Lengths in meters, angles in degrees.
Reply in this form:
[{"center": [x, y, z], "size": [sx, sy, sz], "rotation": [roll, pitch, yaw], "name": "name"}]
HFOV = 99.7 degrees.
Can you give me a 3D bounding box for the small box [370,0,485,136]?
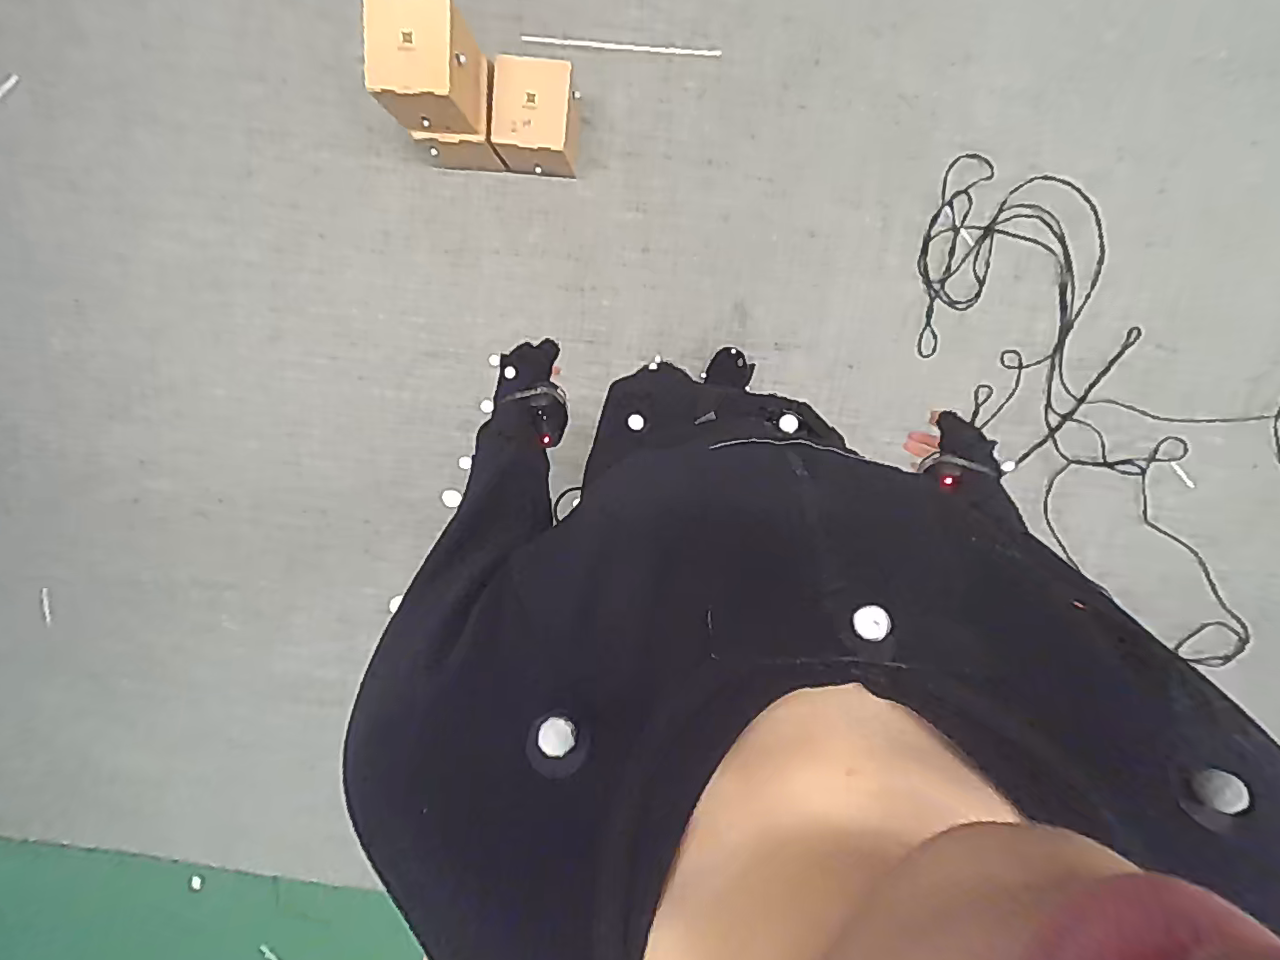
[{"center": [-0.419, -0.828, 1.087], "size": [0.168, 0.176, 0.179], "rotation": [5, 101, 2], "name": "small box"}]
